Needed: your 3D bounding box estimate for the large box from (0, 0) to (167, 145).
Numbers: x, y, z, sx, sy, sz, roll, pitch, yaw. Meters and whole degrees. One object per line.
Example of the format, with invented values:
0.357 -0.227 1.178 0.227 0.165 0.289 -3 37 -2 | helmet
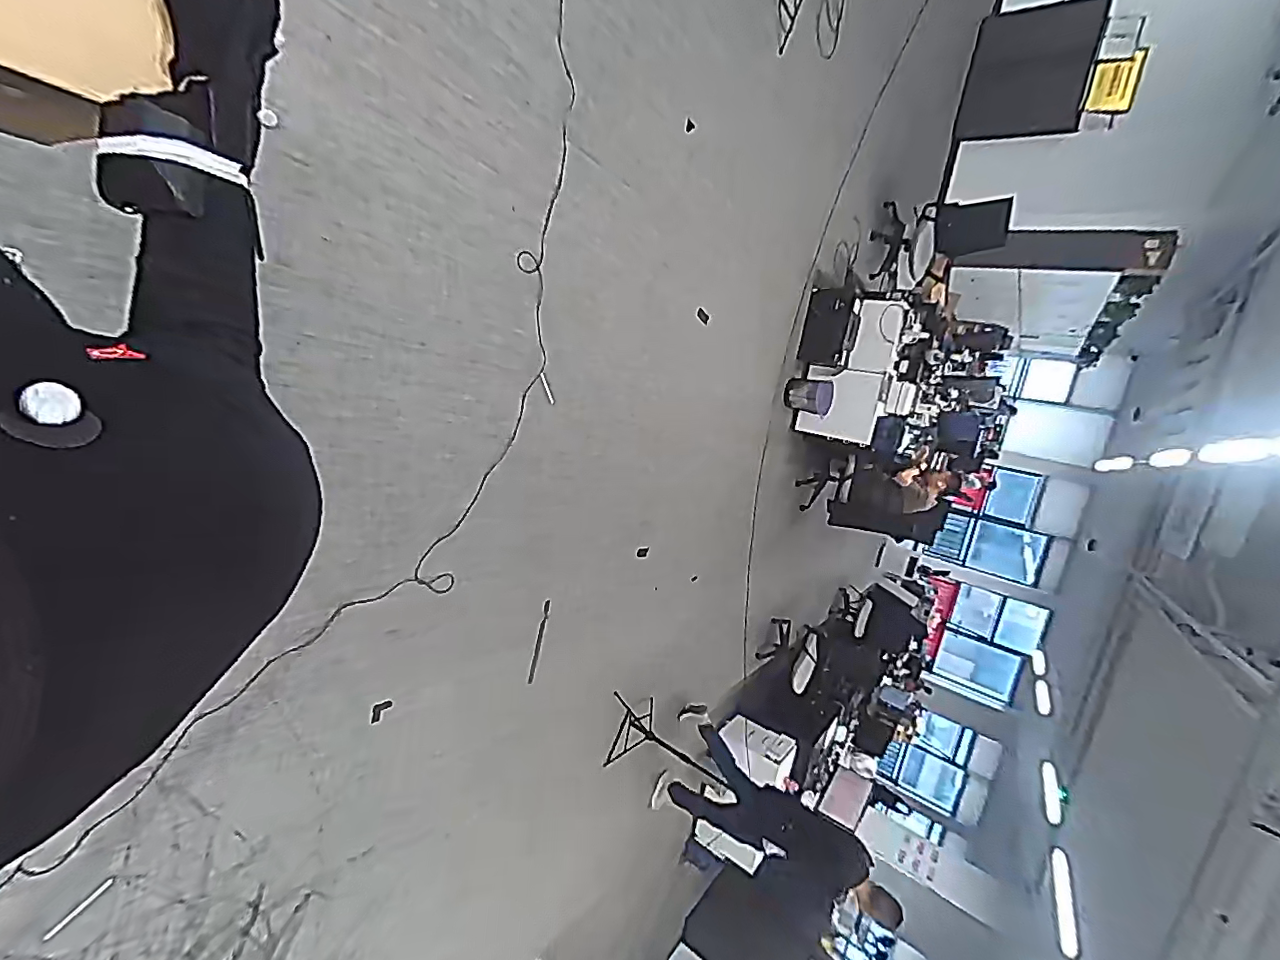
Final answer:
-0.543 -0.419 0.264 0.408 0.320 0.320 -7 113 -58 | large box
